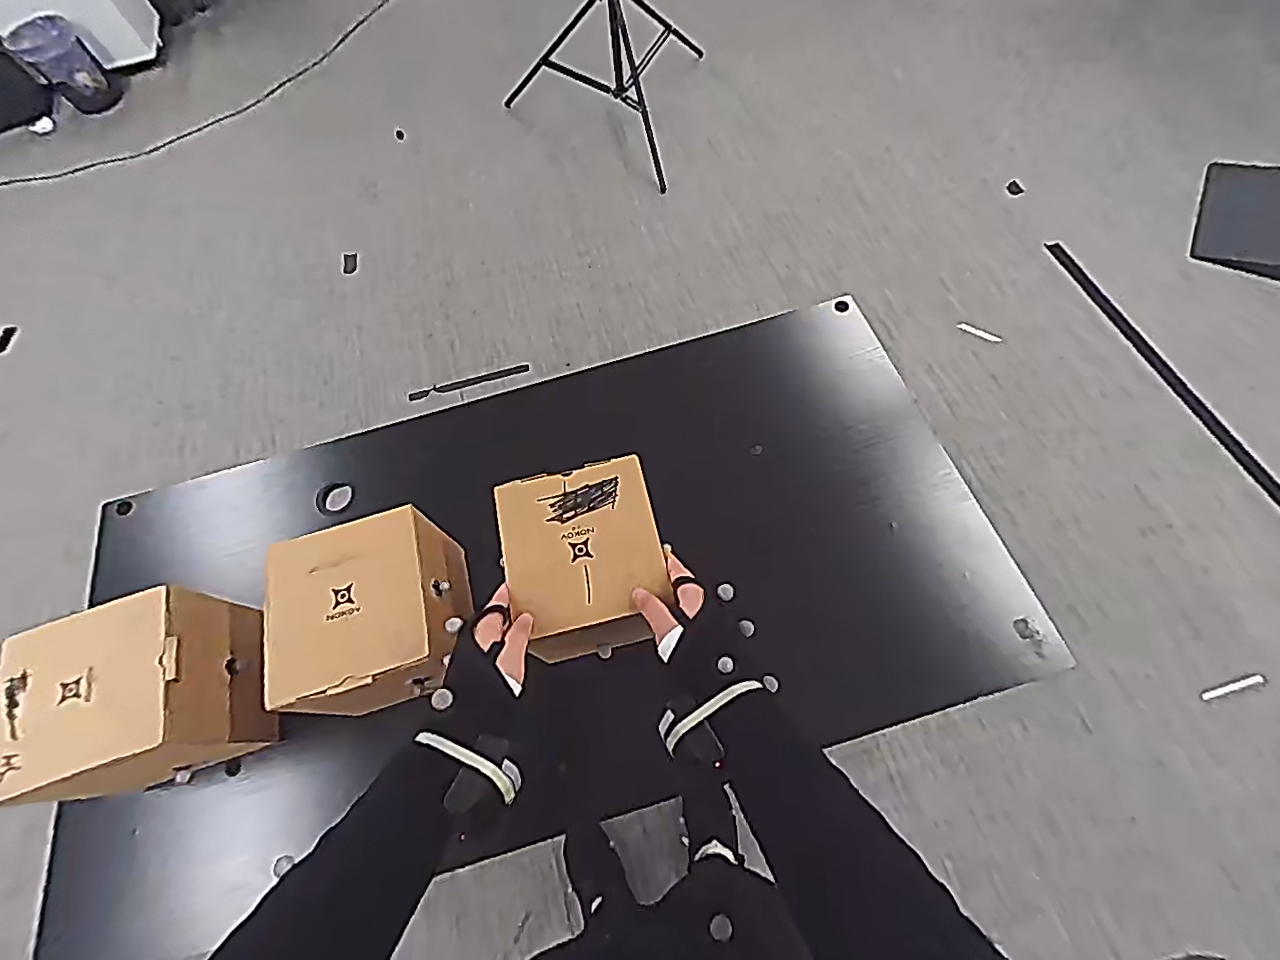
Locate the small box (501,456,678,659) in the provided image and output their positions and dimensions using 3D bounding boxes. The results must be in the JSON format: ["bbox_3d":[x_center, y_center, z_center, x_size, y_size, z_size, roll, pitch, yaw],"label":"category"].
[{"bbox_3d":[-0.057,0.098,0.642,0.168,0.176,0.179,-13,65,-3],"label":"small box"}]

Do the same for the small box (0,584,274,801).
[{"bbox_3d":[-0.549,0.238,0.615,0.179,0.176,0.168,-18,65,-6],"label":"small box"}]

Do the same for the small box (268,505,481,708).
[{"bbox_3d":[-0.301,0.158,0.638,0.168,0.176,0.179,-17,64,-5],"label":"small box"}]
